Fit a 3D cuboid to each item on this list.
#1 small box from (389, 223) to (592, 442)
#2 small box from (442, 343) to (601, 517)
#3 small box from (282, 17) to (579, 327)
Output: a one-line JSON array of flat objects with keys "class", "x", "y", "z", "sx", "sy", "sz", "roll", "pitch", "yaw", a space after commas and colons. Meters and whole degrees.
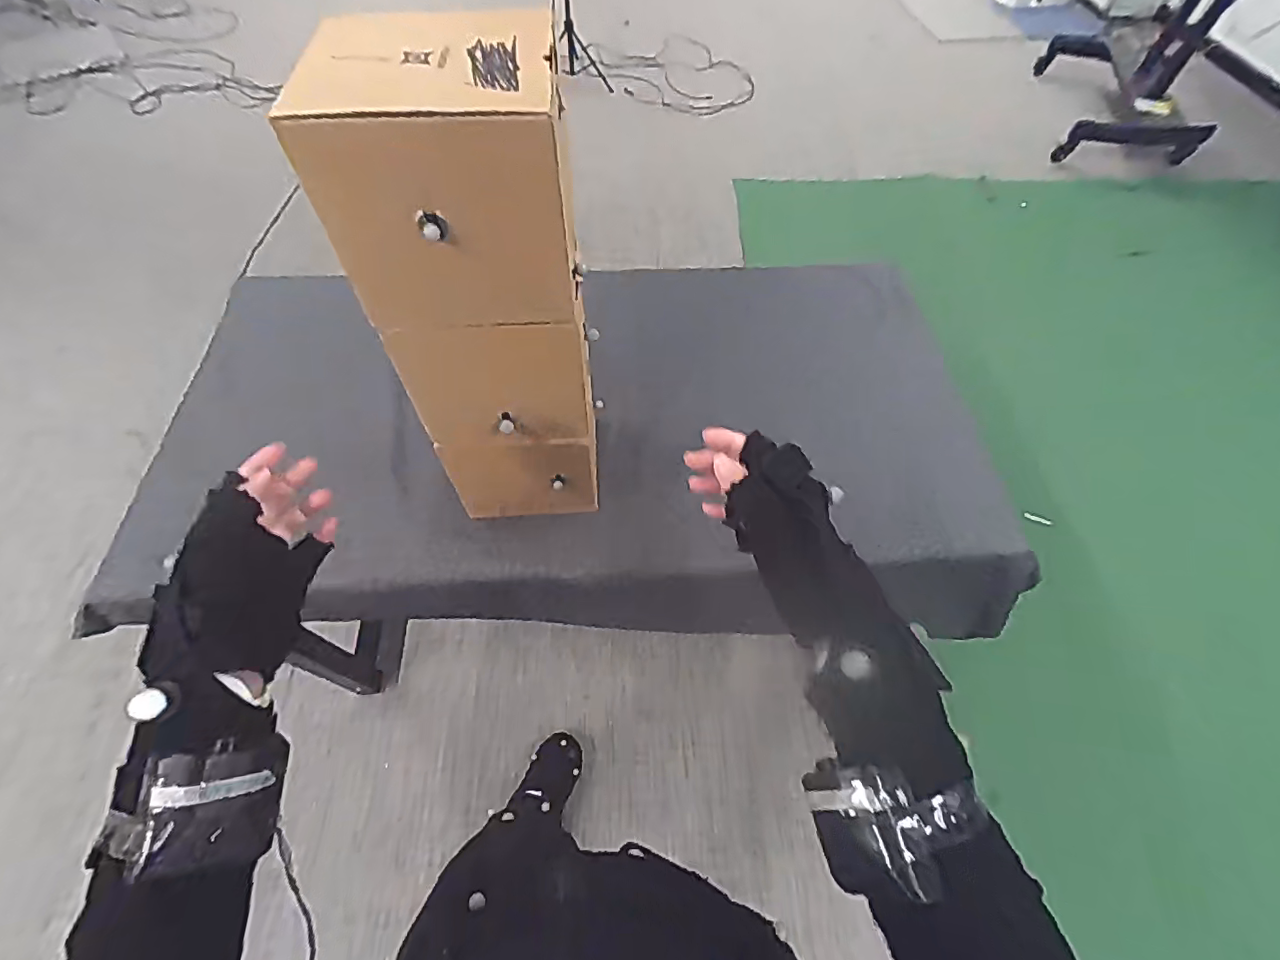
[{"class": "small box", "x": -0.142, "y": -0.155, "z": 0.585, "sx": 0.179, "sy": 0.176, "sz": 0.168, "roll": -3, "pitch": 57, "yaw": -4}, {"class": "small box", "x": -0.143, "y": -0.063, "z": 0.721, "sx": 0.179, "sy": 0.176, "sz": 0.168, "roll": -4, "pitch": 57, "yaw": -2}, {"class": "small box", "x": -0.142, "y": -0.245, "z": 0.448, "sx": 0.179, "sy": 0.176, "sz": 0.168, "roll": -3, "pitch": 57, "yaw": -2}]
